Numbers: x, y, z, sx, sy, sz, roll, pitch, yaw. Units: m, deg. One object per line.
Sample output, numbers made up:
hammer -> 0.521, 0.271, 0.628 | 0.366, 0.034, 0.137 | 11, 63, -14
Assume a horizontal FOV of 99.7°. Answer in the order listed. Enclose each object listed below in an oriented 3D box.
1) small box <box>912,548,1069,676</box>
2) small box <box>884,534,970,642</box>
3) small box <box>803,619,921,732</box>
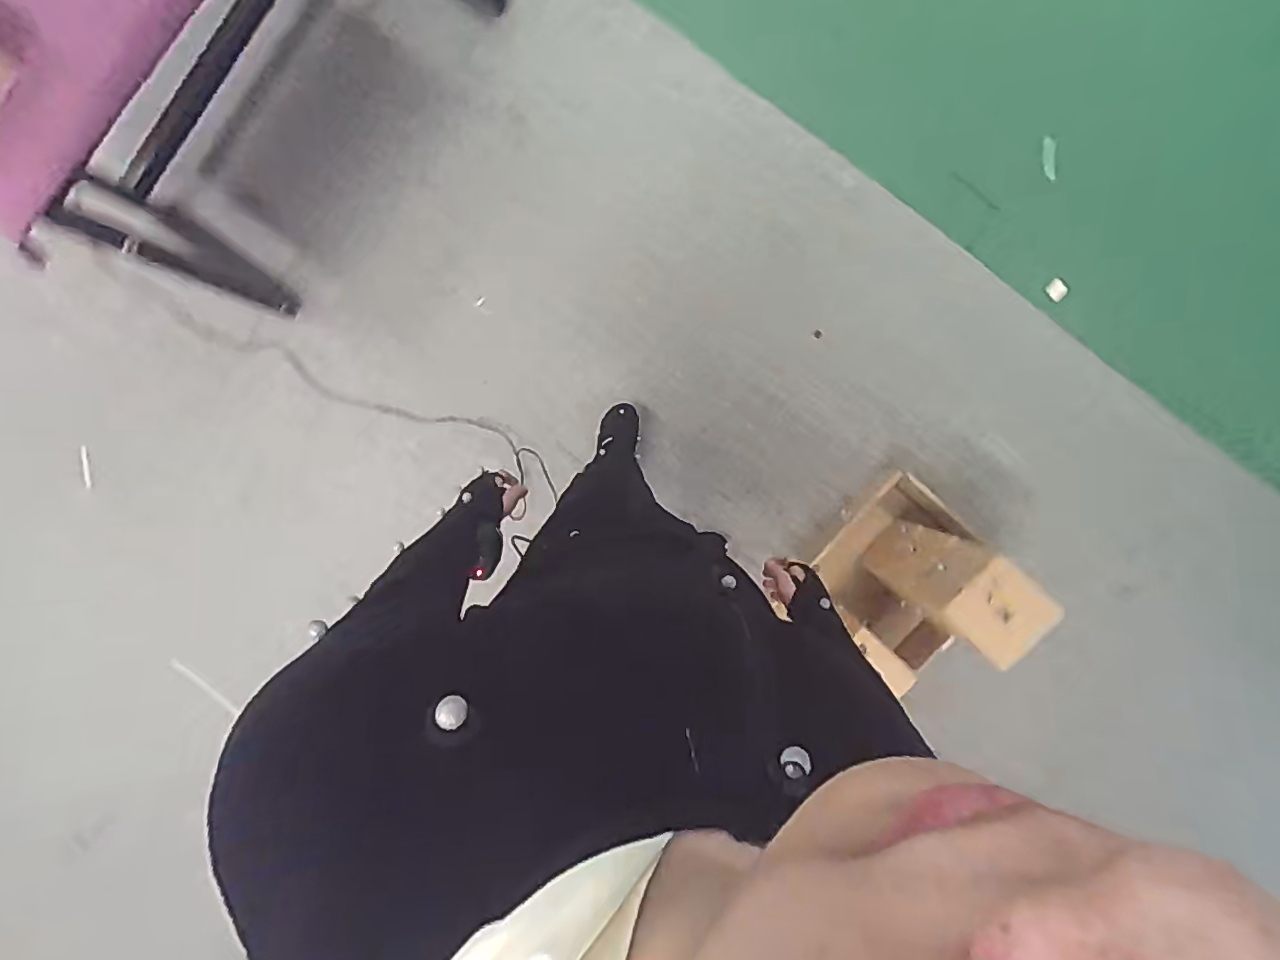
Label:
small box -> 0.717, 0.263, 1.126 | 0.179, 0.176, 0.168 | 44, 95, 1
small box -> 0.728, 0.249, 1.290 | 0.179, 0.176, 0.168 | 44, 95, 2
small box -> 0.524, 0.458, 1.307 | 0.179, 0.176, 0.168 | 43, 93, 1
